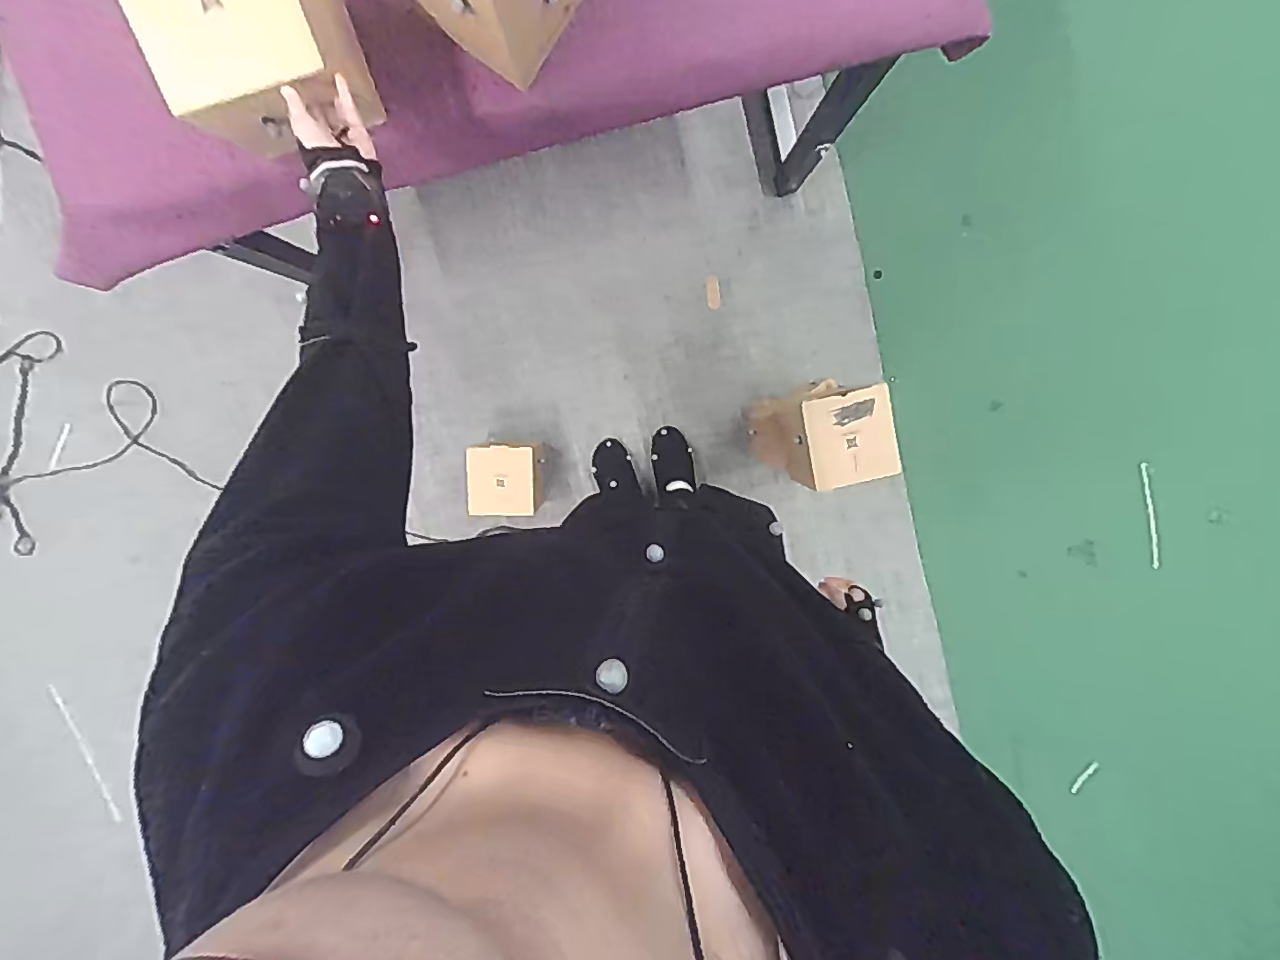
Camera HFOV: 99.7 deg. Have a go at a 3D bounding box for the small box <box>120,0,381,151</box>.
[{"bbox_3d":[-0.421,-0.494,0.598,0.168,0.176,0.179,-17,103,1],"label":"small box"}]

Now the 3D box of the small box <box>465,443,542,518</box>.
[{"bbox_3d":[-0.352,-0.004,1.412,0.168,0.176,0.179,1,99,-1],"label":"small box"}]

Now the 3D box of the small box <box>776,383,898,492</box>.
[{"bbox_3d":[0.384,-0.089,1.081,0.168,0.176,0.179,-13,99,0],"label":"small box"}]

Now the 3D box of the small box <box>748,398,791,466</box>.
[{"bbox_3d":[0.380,-0.129,1.407,0.179,0.176,0.168,-5,99,0],"label":"small box"}]

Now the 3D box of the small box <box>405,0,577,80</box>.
[{"bbox_3d":[-0.173,-0.594,0.593,0.179,0.176,0.168,34,95,-5],"label":"small box"}]
